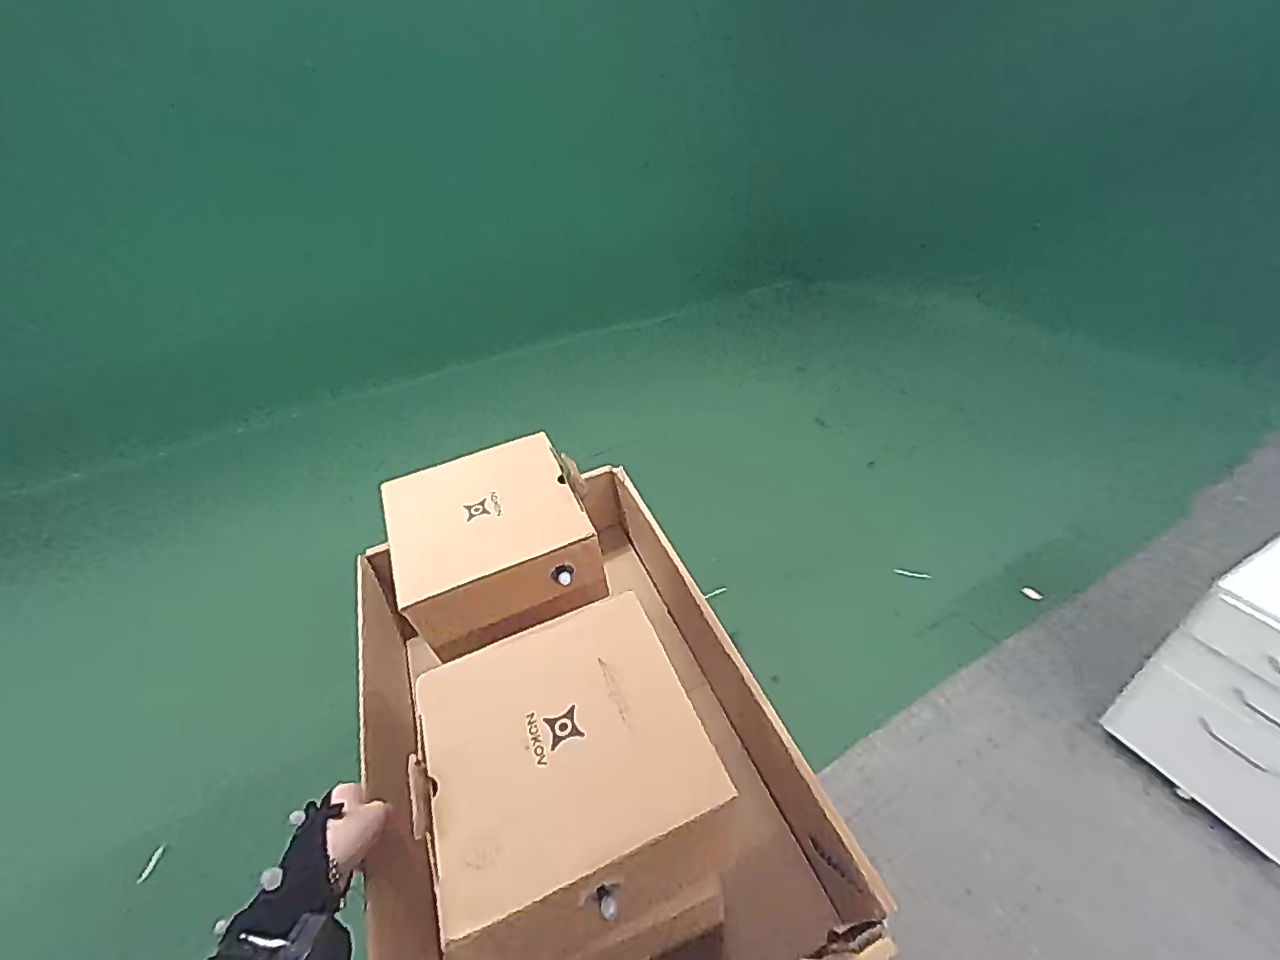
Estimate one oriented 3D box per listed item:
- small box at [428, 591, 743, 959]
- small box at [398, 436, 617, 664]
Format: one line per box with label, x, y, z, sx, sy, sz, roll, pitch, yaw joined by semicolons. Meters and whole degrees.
small box;-0.037;0.223;0.411;0.179;0.176;0.168;-20;45;-13
small box;-0.132;0.087;0.574;0.179;0.176;0.168;-20;46;-14
